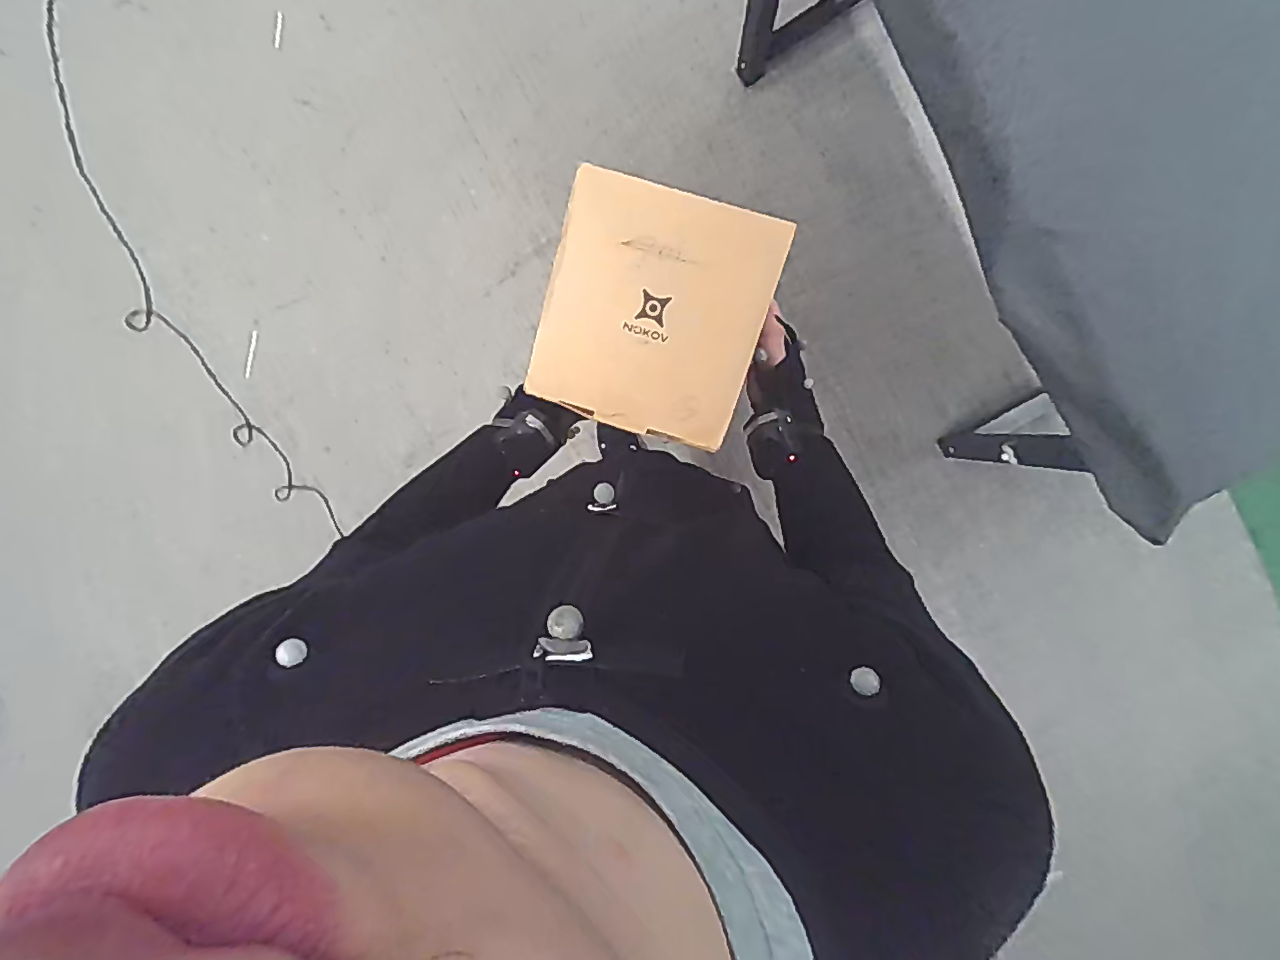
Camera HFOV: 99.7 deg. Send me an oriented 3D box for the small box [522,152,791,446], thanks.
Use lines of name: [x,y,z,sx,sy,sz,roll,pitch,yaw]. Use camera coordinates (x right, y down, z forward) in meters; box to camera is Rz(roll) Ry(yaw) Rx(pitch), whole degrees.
small box: [0.015,-0.148,0.482,0.168,0.176,0.179,18,103,1]
